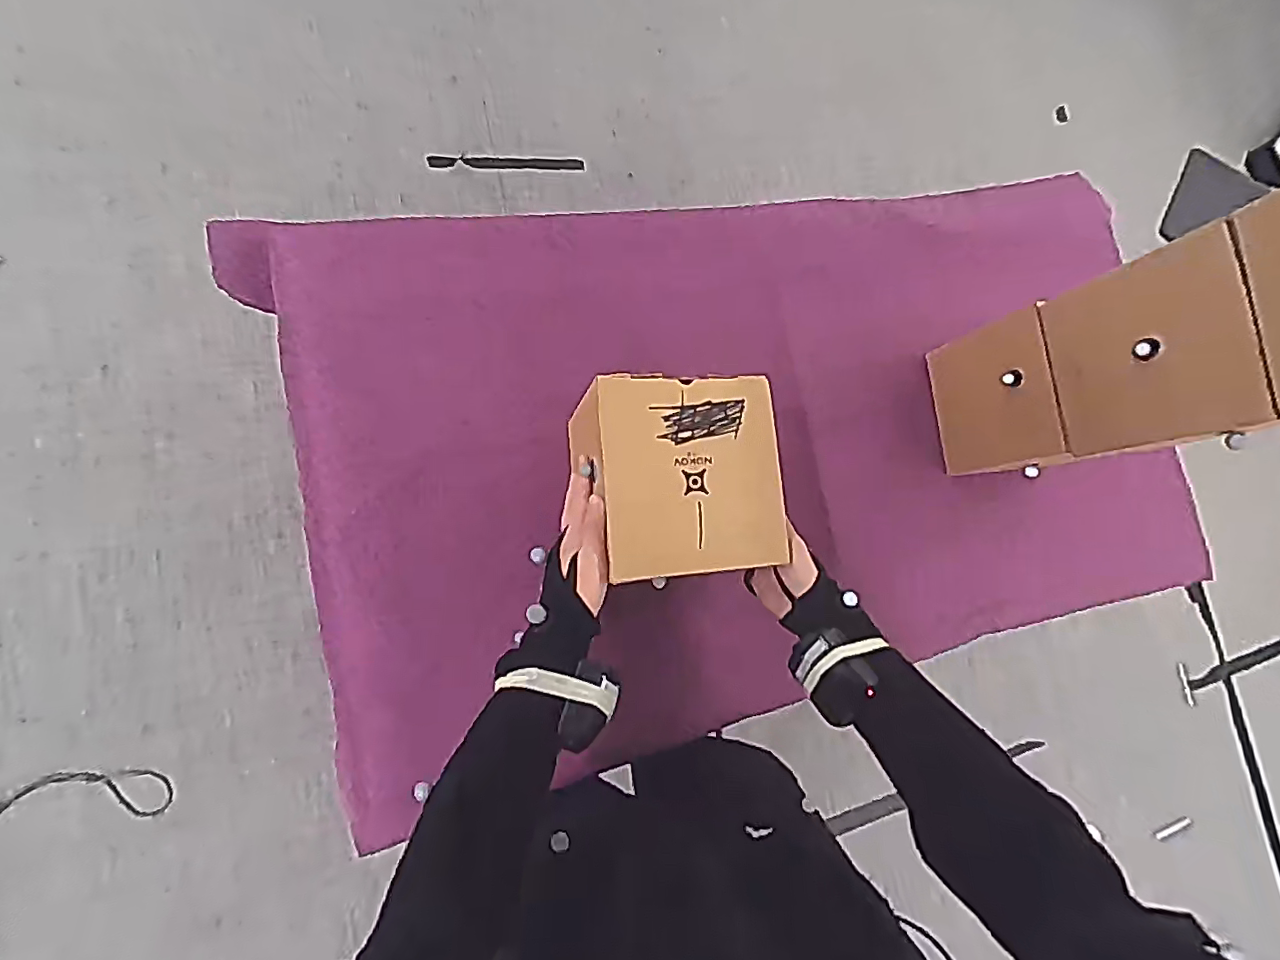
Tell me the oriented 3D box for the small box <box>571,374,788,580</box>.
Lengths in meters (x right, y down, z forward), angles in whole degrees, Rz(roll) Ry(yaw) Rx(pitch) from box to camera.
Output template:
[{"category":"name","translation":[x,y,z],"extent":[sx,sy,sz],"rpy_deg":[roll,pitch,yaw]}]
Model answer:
[{"category":"small box","translation":[0.026,0.004,0.543],"extent":[0.168,0.176,0.179],"rpy_deg":[-3,83,-16]}]

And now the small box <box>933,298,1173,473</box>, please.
[{"category":"small box","translation":[0.505,-0.111,0.687],"extent":[0.168,0.176,0.179],"rpy_deg":[-5,84,-15]}]

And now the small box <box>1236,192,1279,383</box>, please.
[{"category":"small box","translation":[0.585,-0.148,0.372],"extent":[0.168,0.176,0.179],"rpy_deg":[-3,82,-16]}]
